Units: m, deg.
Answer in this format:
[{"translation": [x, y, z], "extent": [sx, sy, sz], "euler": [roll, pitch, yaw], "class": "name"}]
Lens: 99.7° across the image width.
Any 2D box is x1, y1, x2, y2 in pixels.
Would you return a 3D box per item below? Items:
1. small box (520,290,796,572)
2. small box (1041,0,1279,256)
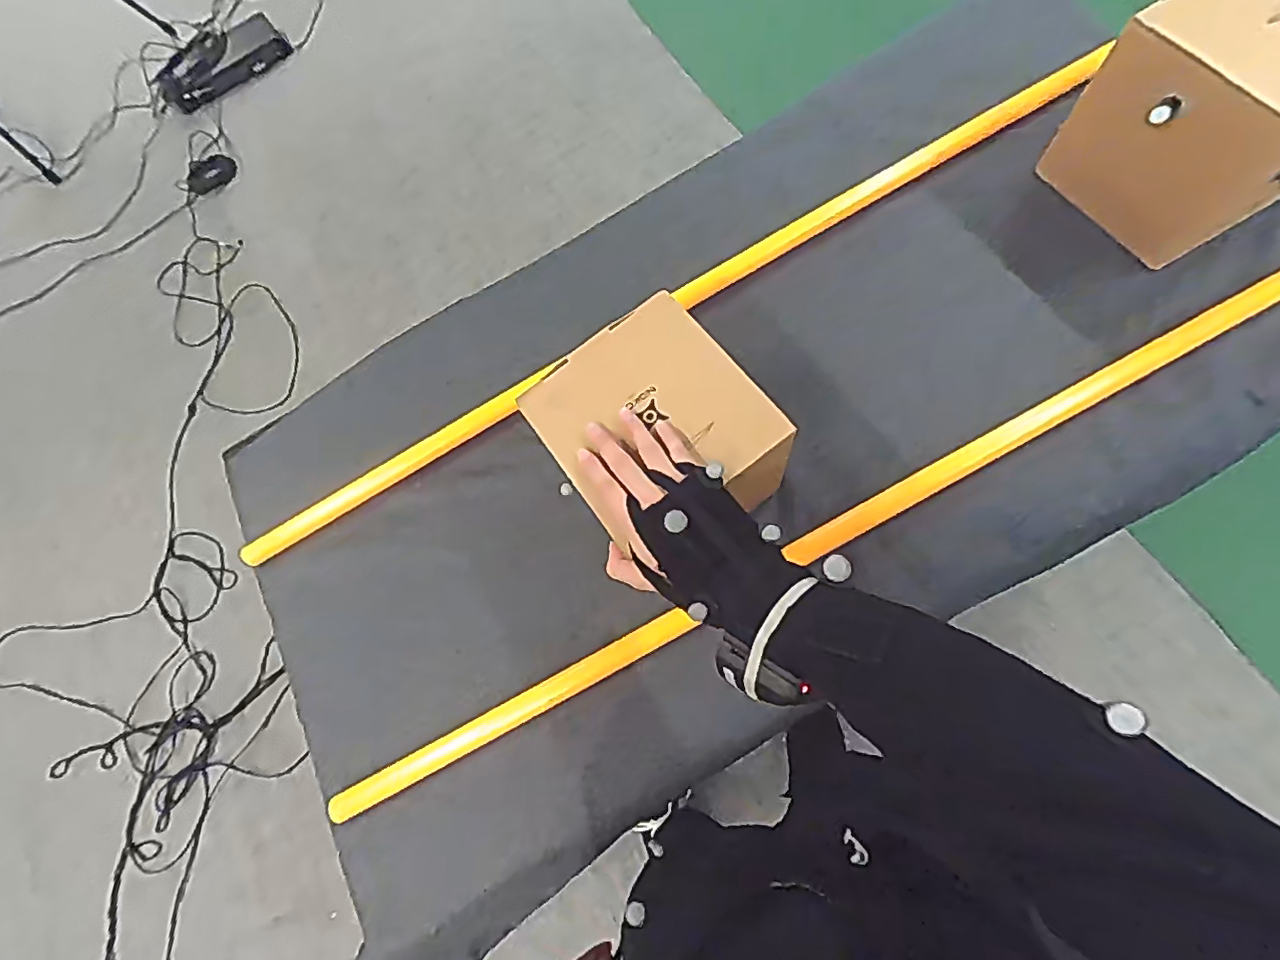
[{"translation": [0.021, -0.033, 0.515], "extent": [0.168, 0.176, 0.179], "euler": [-37, 71, -2], "class": "small box"}, {"translation": [0.551, -0.349, 0.520], "extent": [0.168, 0.176, 0.179], "euler": [-30, 69, 1], "class": "small box"}]
